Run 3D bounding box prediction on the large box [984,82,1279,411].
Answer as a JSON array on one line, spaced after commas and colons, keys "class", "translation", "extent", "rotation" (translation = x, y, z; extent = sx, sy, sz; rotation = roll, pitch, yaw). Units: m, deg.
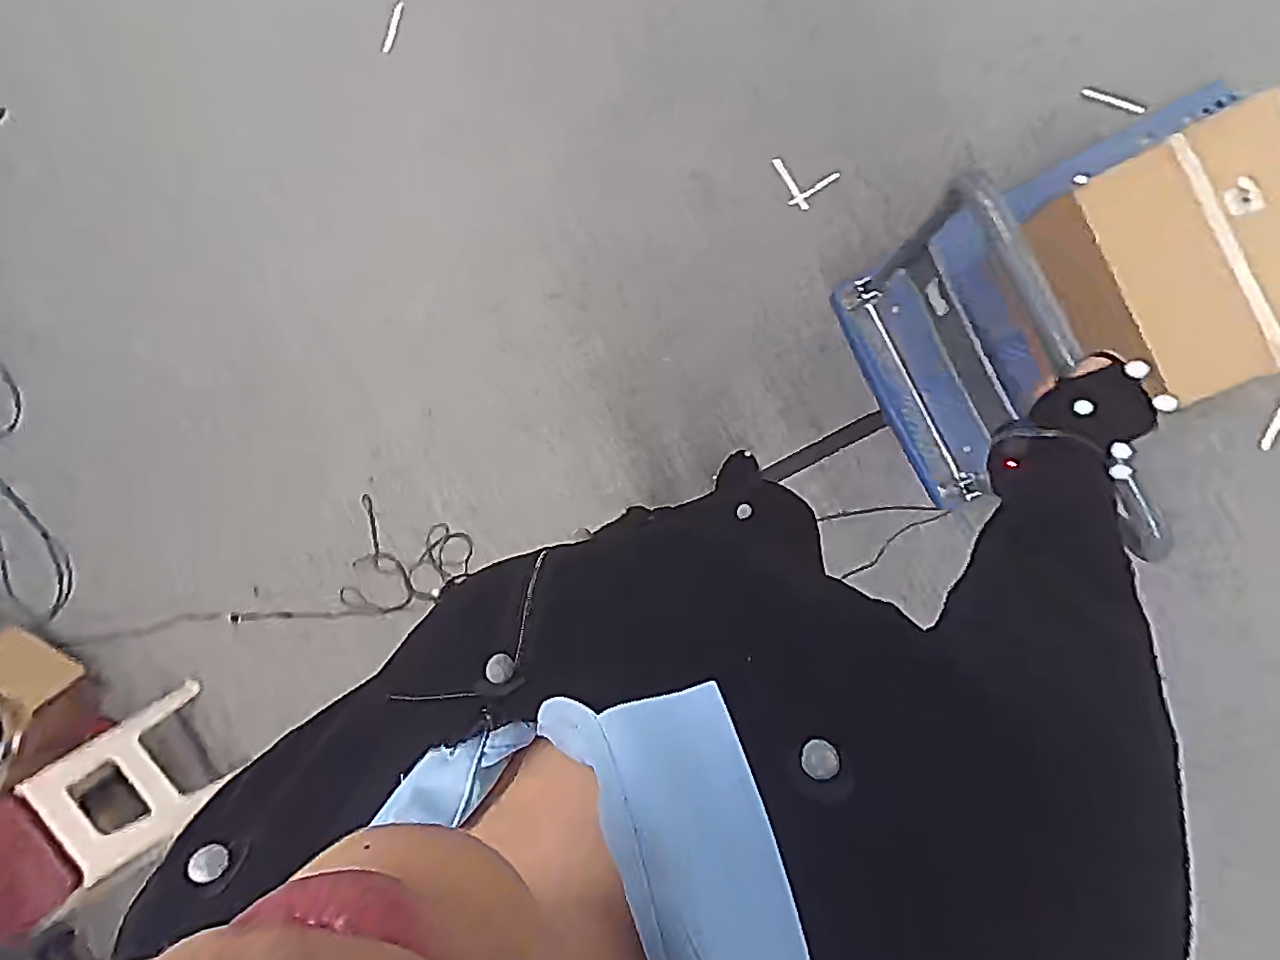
[{"class": "large box", "translation": [0.937, -0.380, 0.998], "extent": [0.320, 0.320, 0.408], "rotation": [-26, 89, 9]}]
